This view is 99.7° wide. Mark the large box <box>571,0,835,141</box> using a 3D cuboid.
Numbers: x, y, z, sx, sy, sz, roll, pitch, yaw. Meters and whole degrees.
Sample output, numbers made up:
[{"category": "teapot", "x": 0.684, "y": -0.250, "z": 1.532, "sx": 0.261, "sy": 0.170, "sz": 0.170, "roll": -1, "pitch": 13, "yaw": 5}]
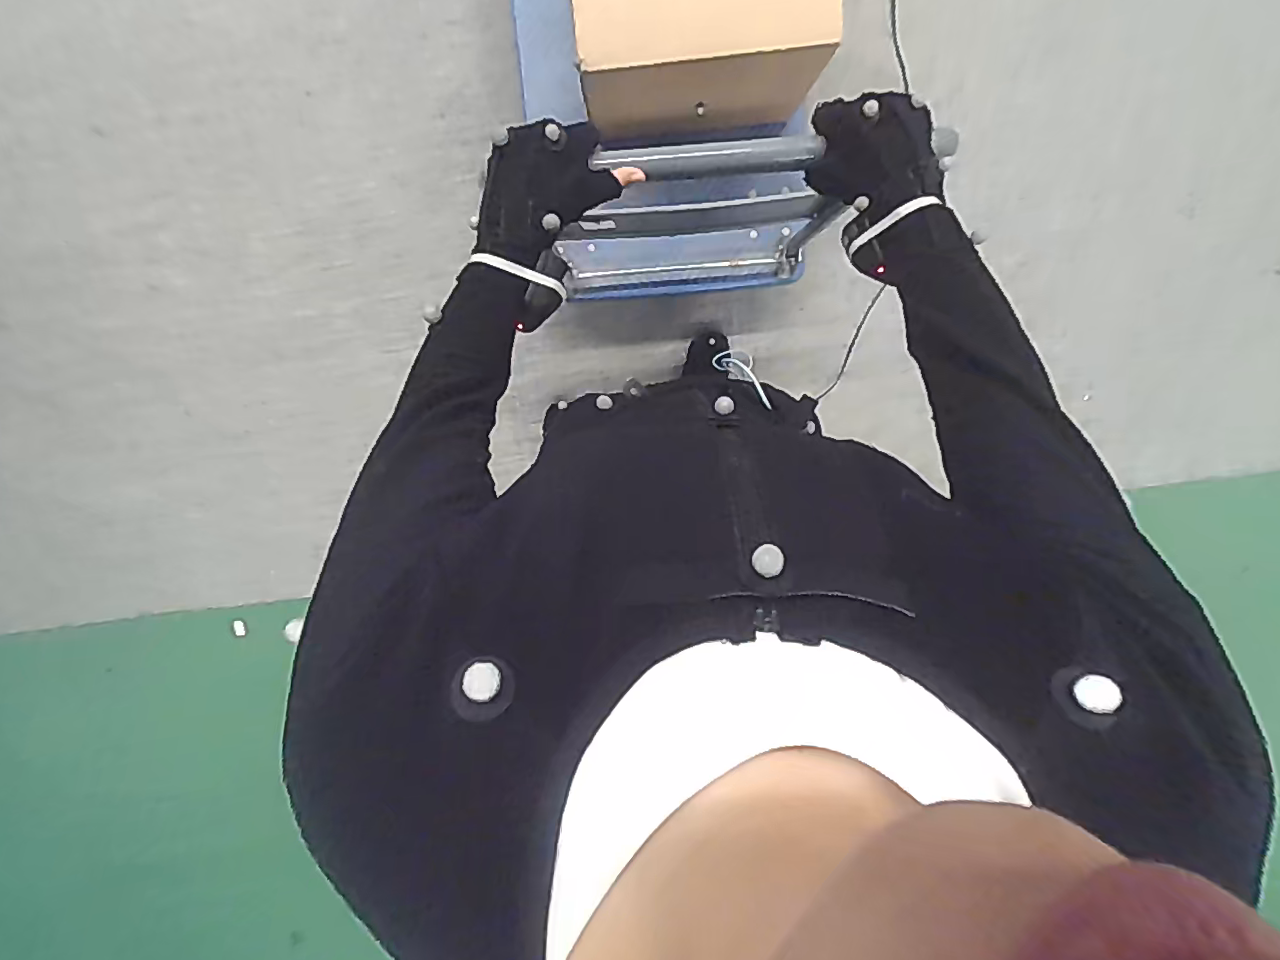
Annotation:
[{"category": "large box", "x": 0.092, "y": -0.835, "z": 0.946, "sx": 0.408, "sy": 0.320, "sz": 0.320, "roll": -5, "pitch": 104, "yaw": 3}]
